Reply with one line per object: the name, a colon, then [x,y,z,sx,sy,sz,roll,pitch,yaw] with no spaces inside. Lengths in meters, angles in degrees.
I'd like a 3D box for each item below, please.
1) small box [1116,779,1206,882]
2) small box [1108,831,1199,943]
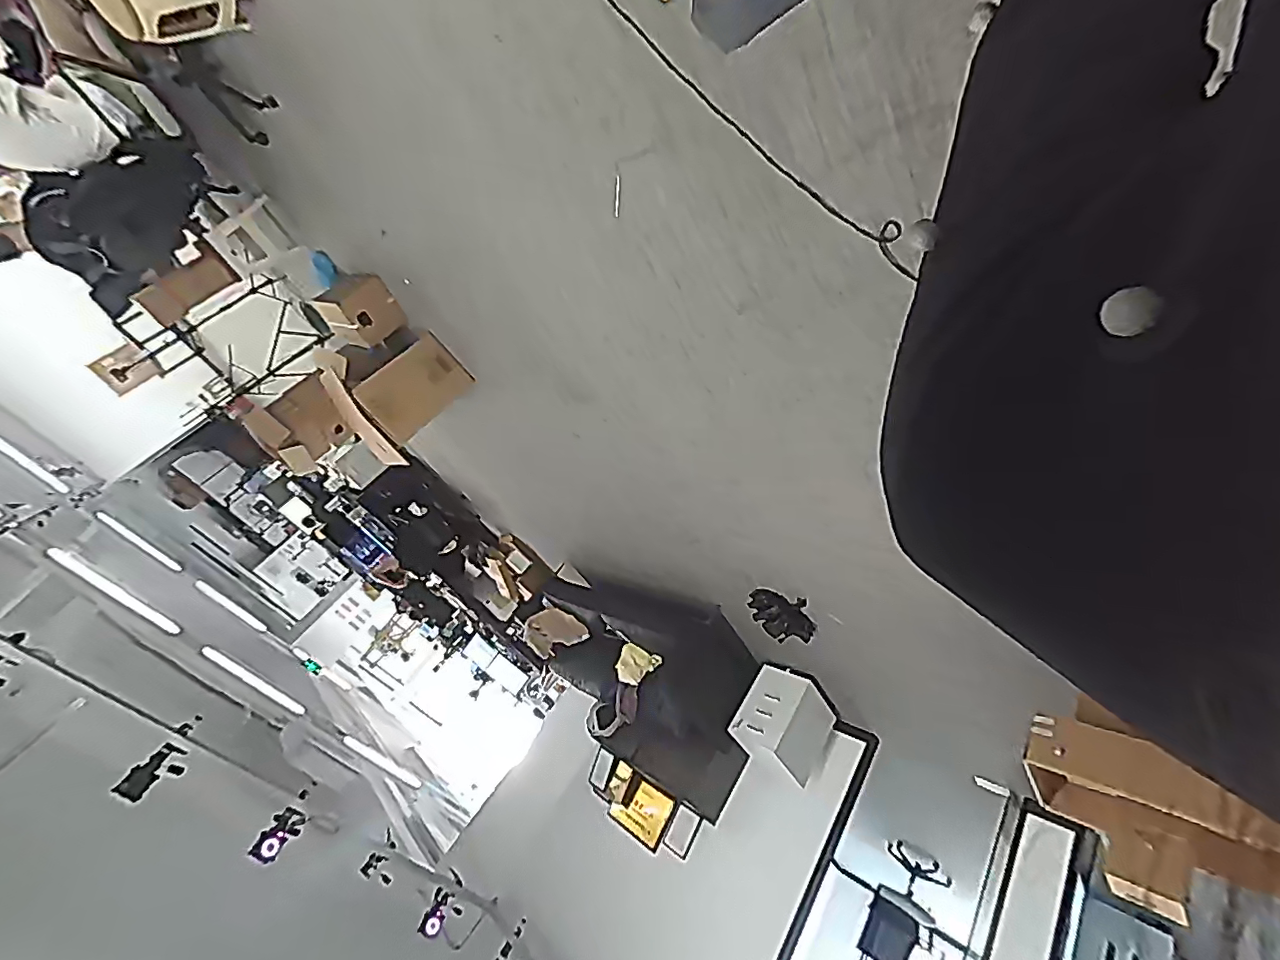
small box: [1.563,1.040,1.618,0.168,0.176,0.179,-3,132,52]
small box: [1.471,1.156,1.547,0.168,0.176,0.179,-1,133,51]
